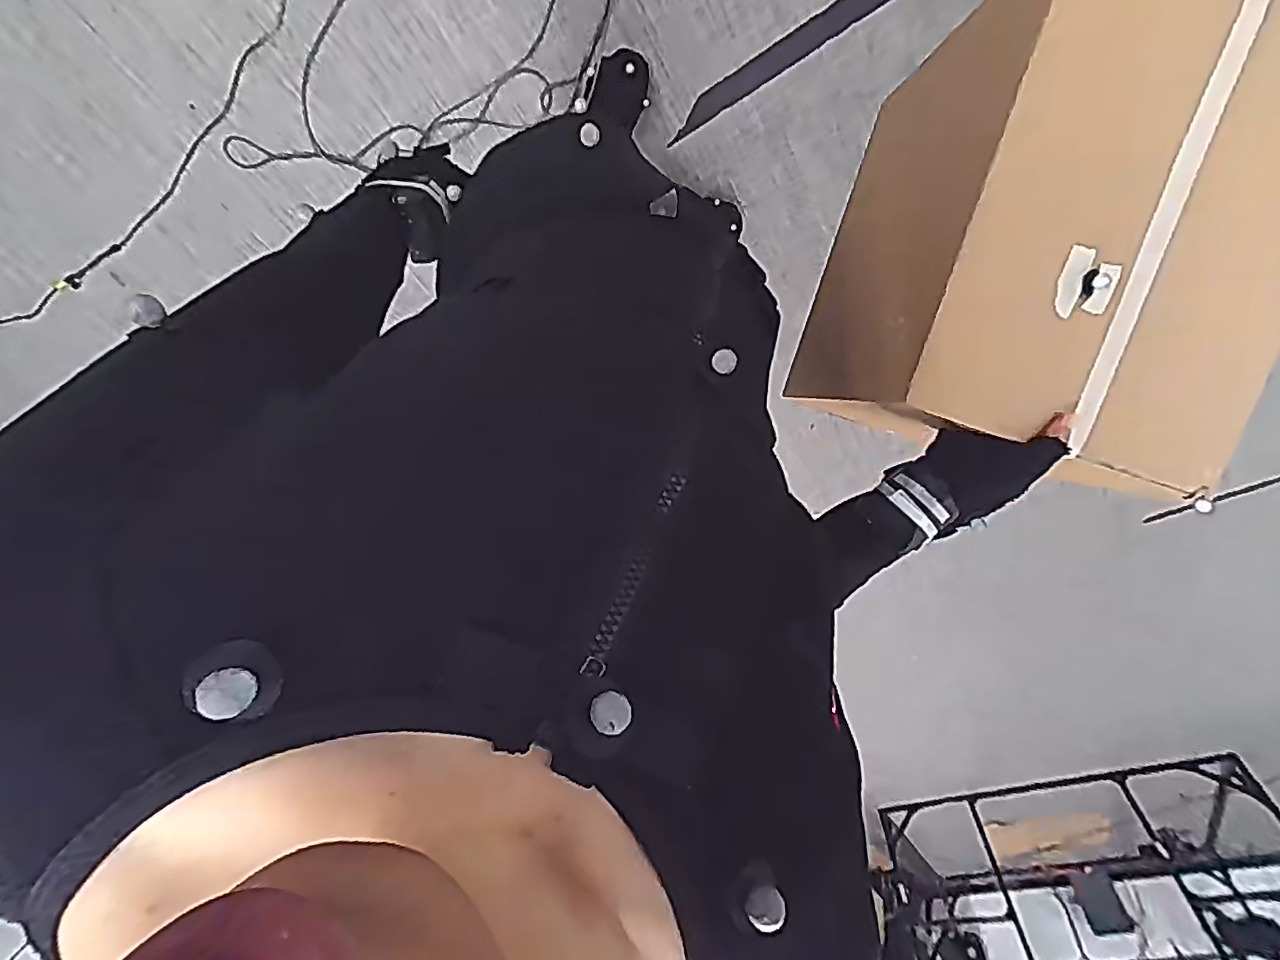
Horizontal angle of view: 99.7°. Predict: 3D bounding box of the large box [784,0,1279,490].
[{"bbox_3d":[0.408,-0.245,0.604,0.320,0.320,0.408,16,99,-7],"label":"large box"}]
